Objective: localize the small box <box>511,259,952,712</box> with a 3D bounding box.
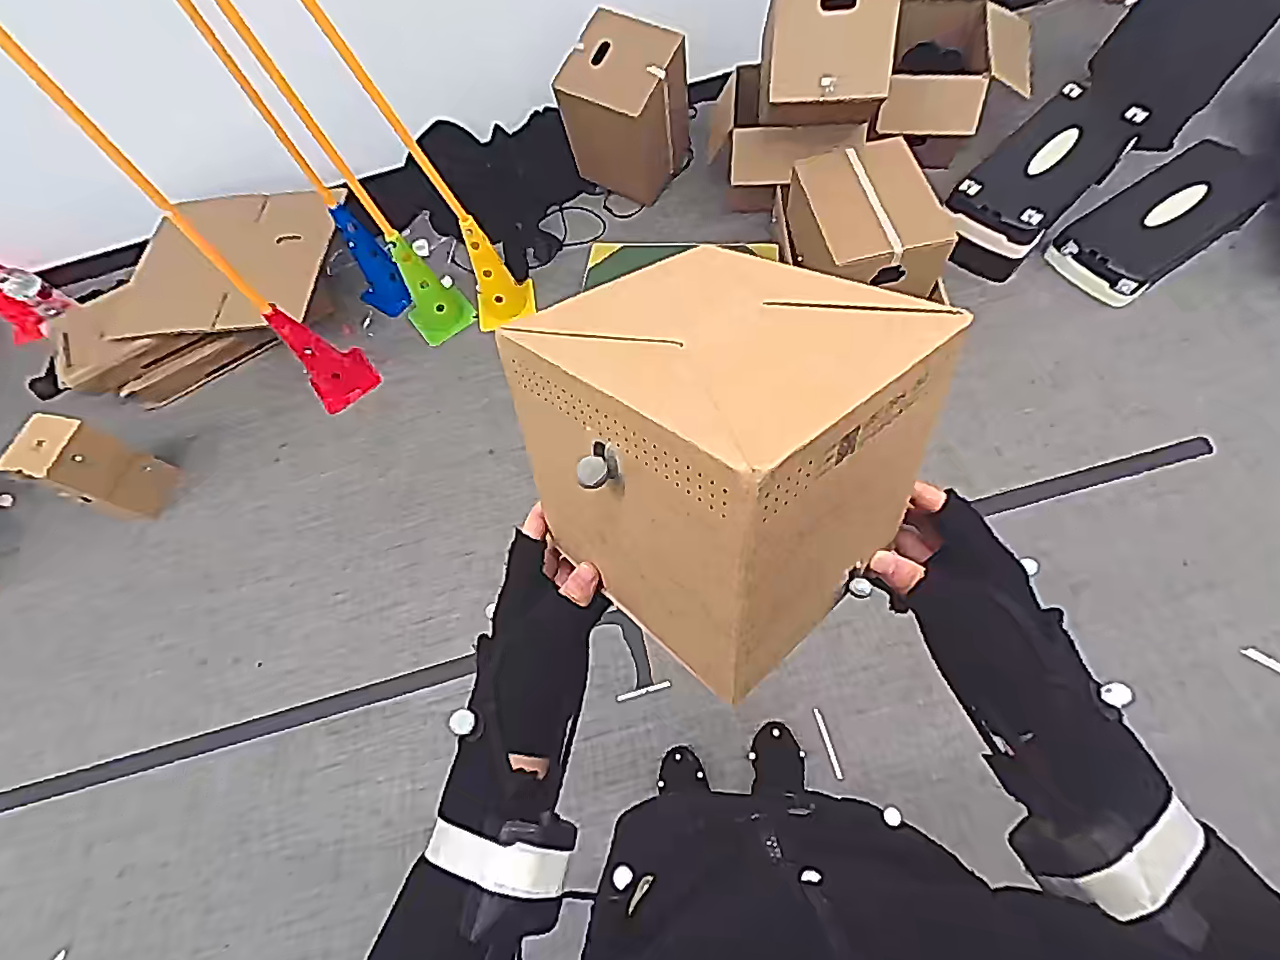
[{"bbox_3d":[0.041,-0.015,0.319,0.168,0.176,0.179,-31,47,-26],"label":"small box"}]
